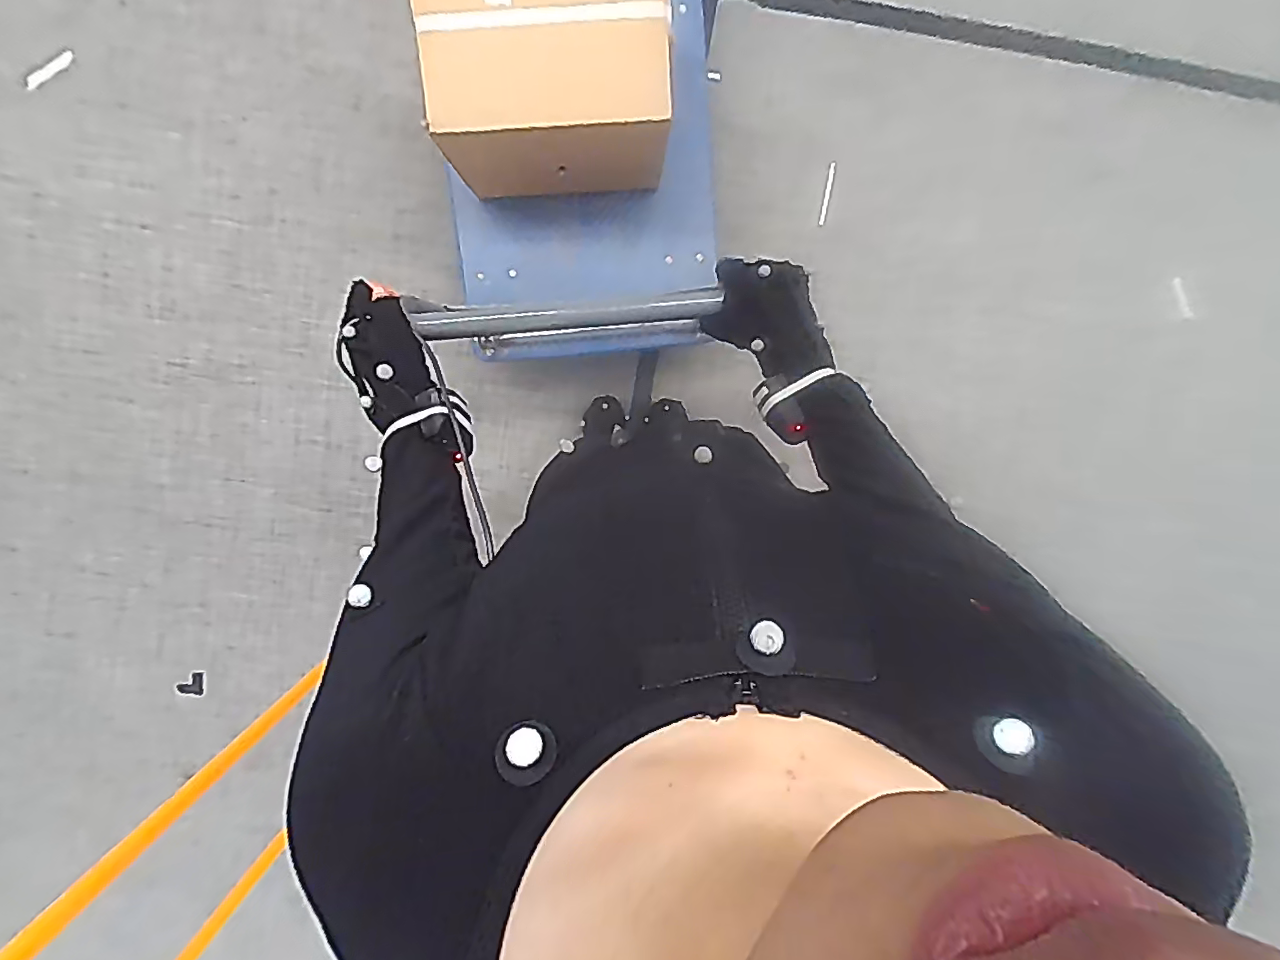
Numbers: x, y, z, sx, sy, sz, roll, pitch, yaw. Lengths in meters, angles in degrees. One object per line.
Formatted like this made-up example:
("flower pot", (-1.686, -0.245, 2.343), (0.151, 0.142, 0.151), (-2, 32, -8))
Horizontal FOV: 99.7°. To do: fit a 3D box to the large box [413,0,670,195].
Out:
("large box", (-0.163, -0.759, 1.016), (0.408, 0.320, 0.320), (-4, 100, -1))
